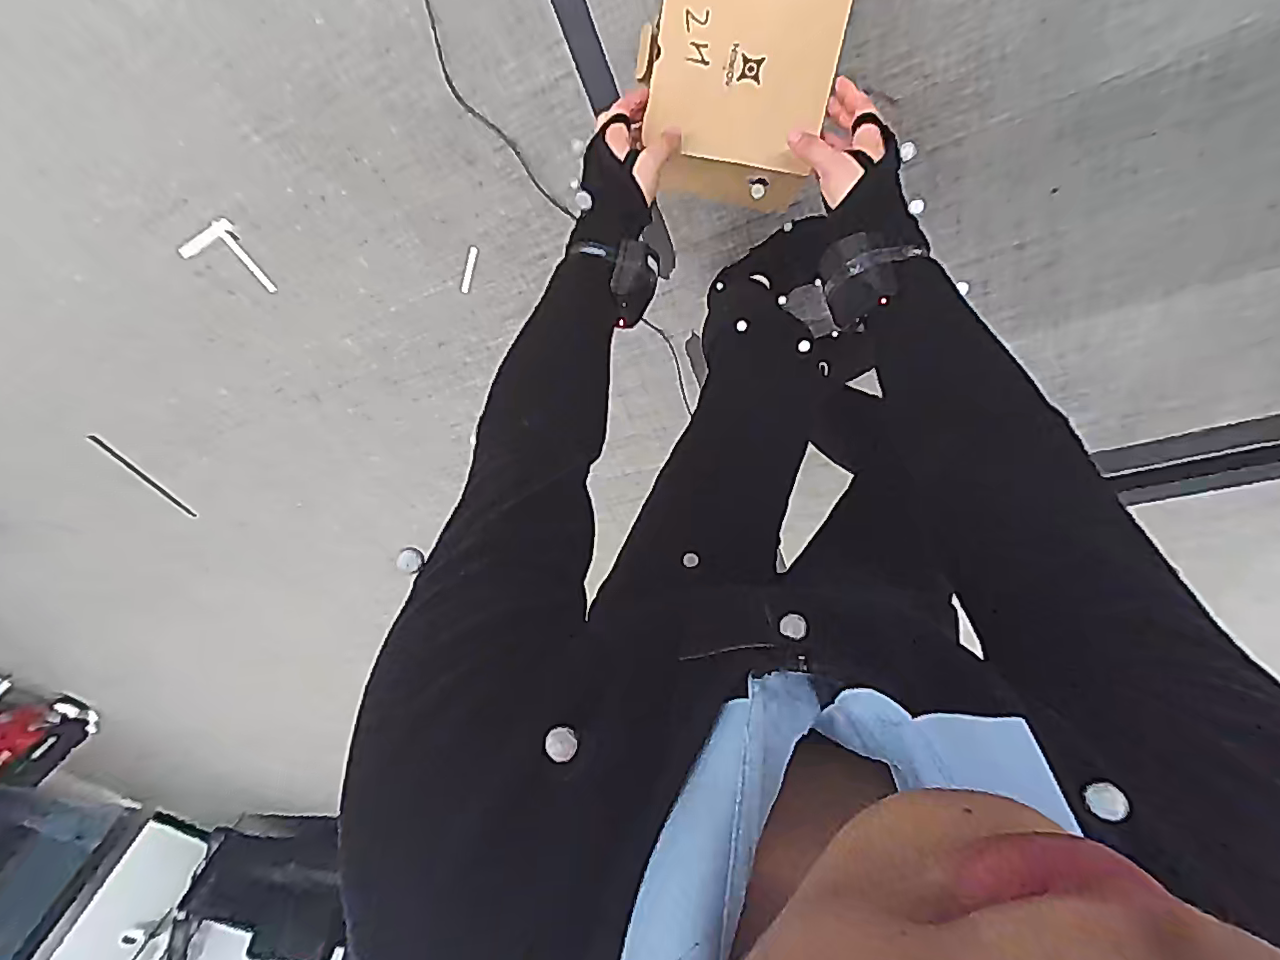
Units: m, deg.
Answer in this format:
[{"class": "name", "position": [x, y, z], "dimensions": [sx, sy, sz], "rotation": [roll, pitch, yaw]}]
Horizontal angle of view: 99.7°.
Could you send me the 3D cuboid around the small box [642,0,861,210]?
[{"class": "small box", "position": [0.109, -0.405, 0.580], "dimensions": [0.179, 0.176, 0.168], "rotation": [11, 103, 4]}]
